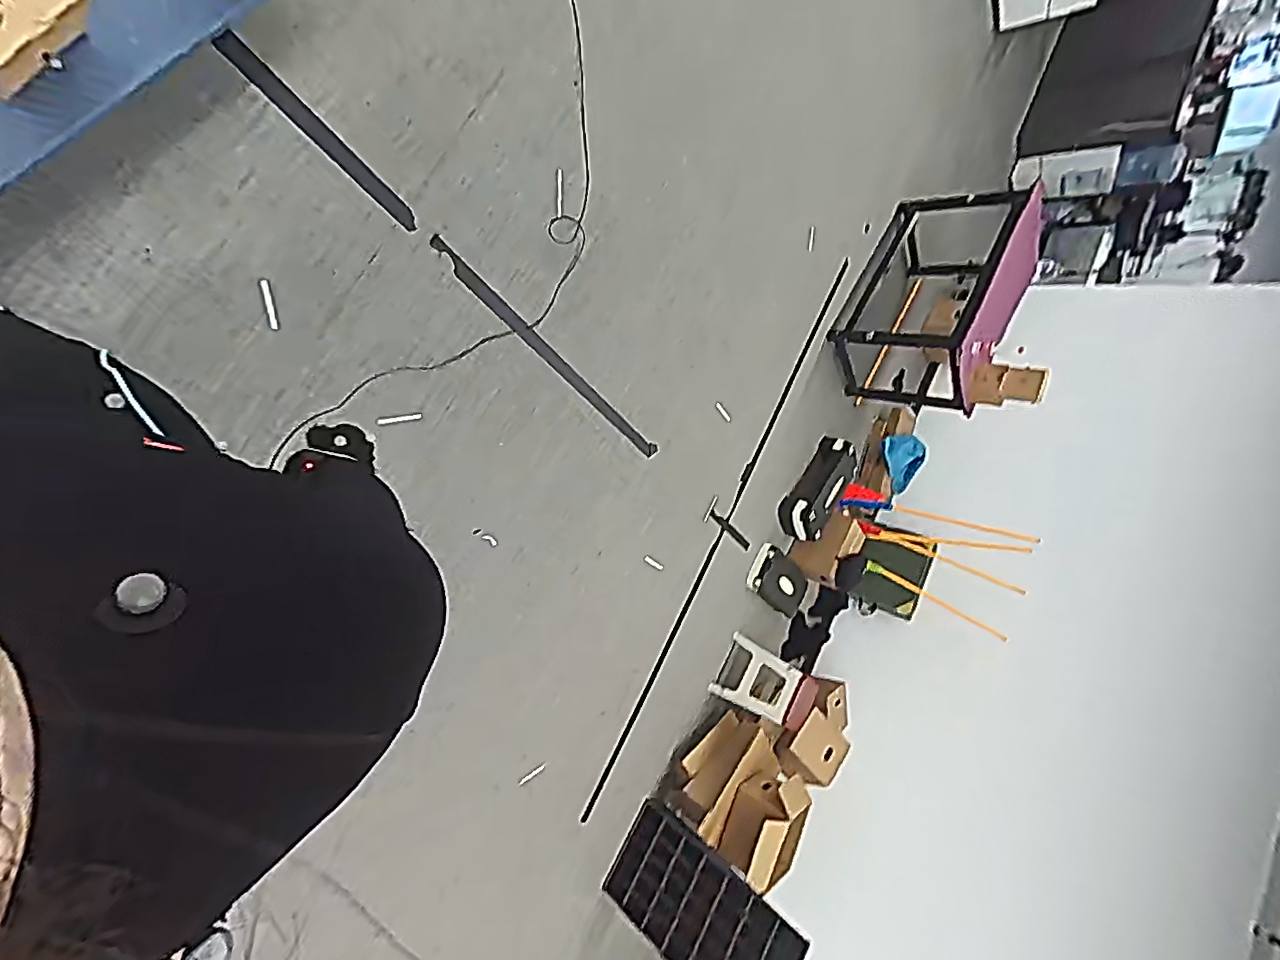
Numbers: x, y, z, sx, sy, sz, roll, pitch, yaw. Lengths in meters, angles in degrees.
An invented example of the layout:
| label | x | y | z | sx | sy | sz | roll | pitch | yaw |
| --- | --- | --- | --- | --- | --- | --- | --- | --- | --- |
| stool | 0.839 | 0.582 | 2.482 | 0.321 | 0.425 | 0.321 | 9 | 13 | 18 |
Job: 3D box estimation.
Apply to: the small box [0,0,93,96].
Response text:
| label | x | y | z | sx | sy | sz | roll | pitch | yaw |
| --- | --- | --- | --- | --- | --- | --- | --- | --- | --- |
| small box | -0.869 | -0.643 | 0.694 | 0.168 | 0.176 | 0.179 | -59 | 137 | -14 |
